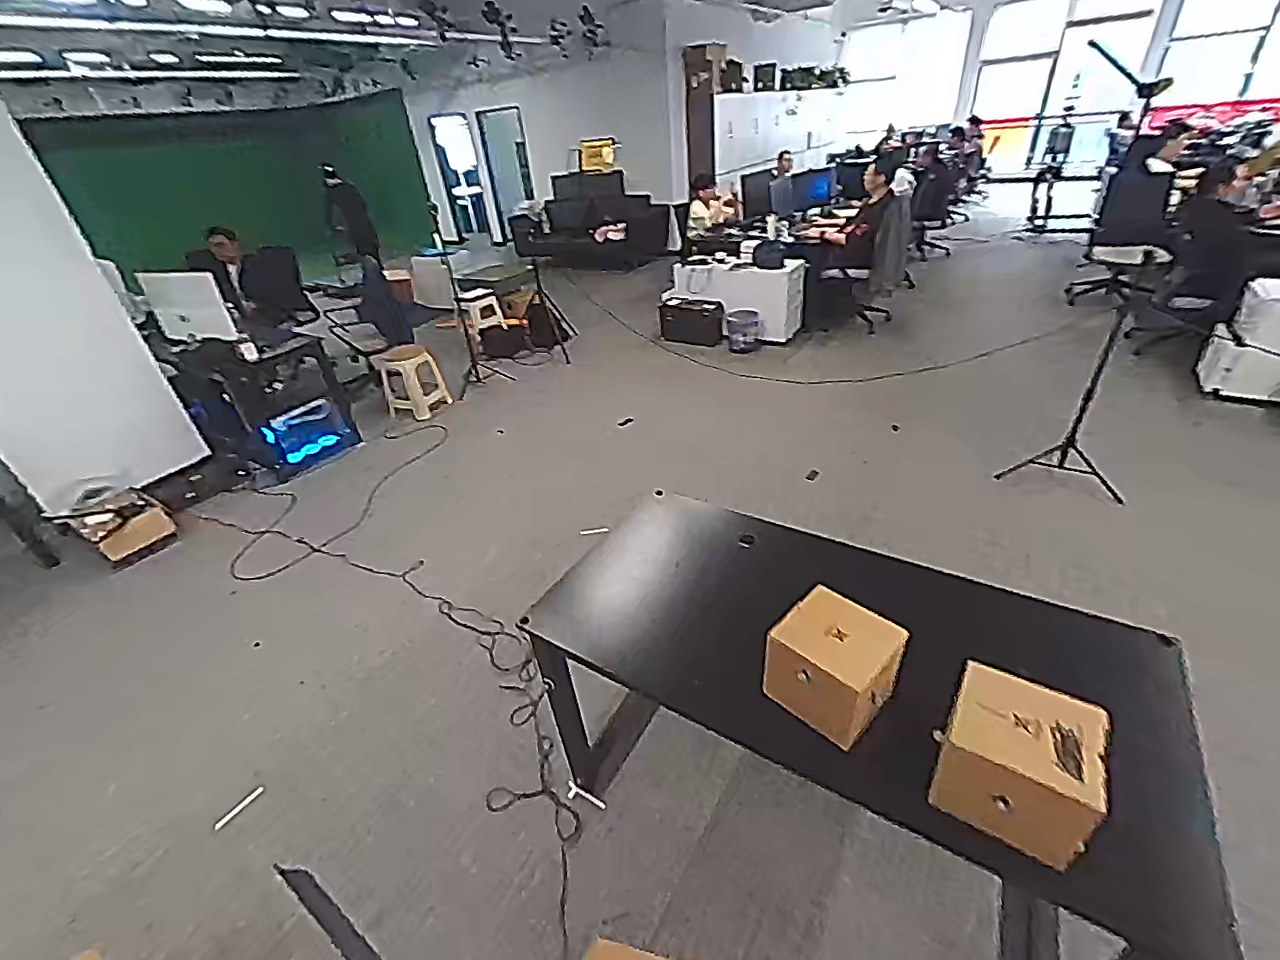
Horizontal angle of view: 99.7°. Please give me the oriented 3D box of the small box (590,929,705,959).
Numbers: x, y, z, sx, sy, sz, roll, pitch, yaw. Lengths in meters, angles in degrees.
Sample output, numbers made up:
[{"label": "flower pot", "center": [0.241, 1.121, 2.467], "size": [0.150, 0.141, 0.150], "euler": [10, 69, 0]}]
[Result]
[{"label": "small box", "center": [0.008, 0.597, 0.540], "size": [0.179, 0.176, 0.168], "euler": [15, 33, 1]}]

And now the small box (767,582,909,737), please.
[{"label": "small box", "center": [0.348, 0.324, 0.970], "size": [0.168, 0.176, 0.179], "euler": [-31, 39, -33]}]

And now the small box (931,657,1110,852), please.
[{"label": "small box", "center": [0.557, 0.407, 0.803], "size": [0.179, 0.176, 0.168], "euler": [16, 39, 33]}]
